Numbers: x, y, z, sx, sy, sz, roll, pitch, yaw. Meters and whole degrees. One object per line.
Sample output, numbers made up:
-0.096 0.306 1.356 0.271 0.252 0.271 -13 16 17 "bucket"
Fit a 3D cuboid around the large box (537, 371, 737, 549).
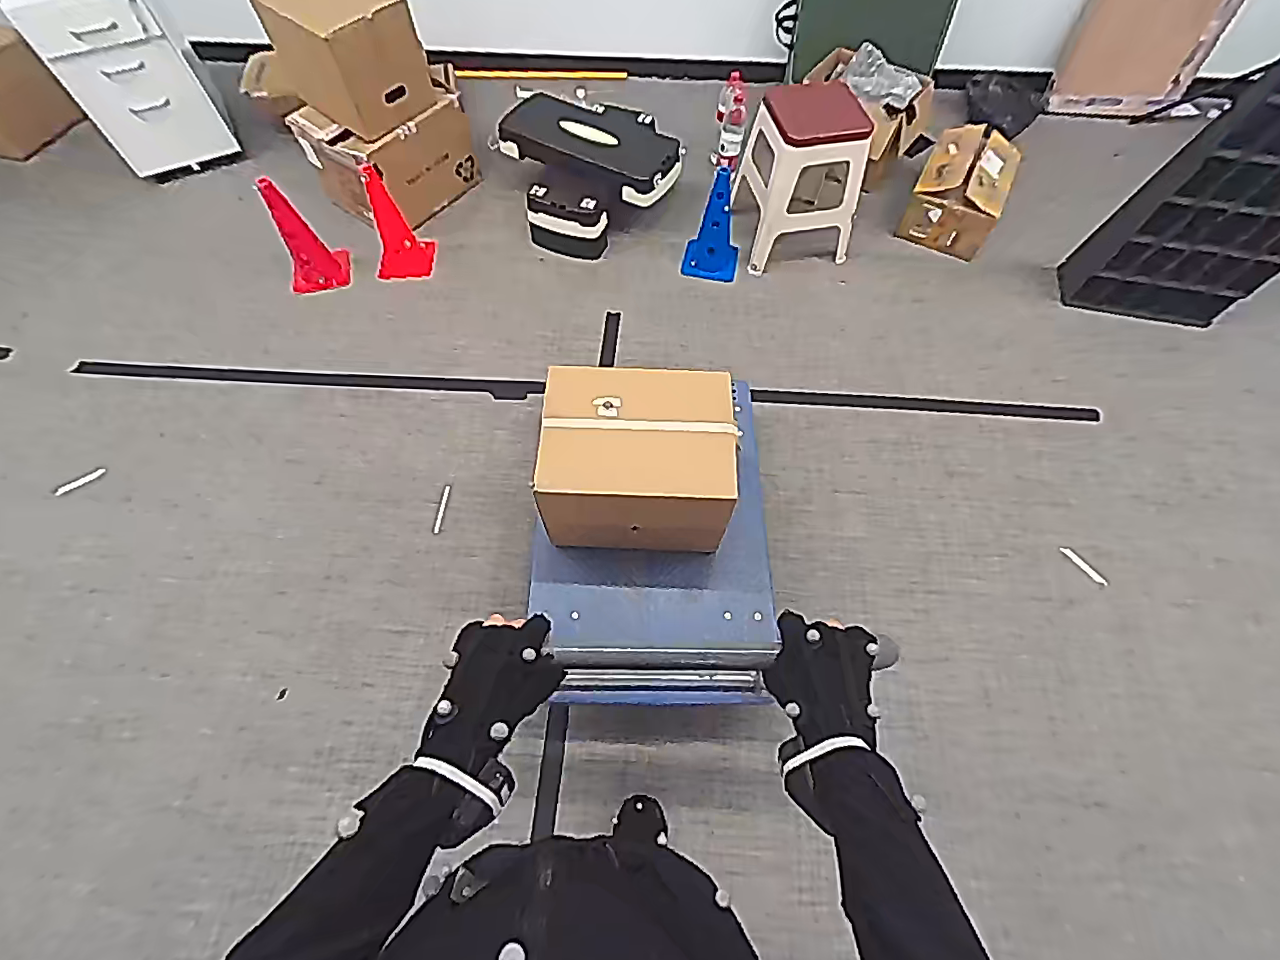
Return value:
-0.001 -0.035 1.264 0.408 0.320 0.320 2 63 1 "large box"
